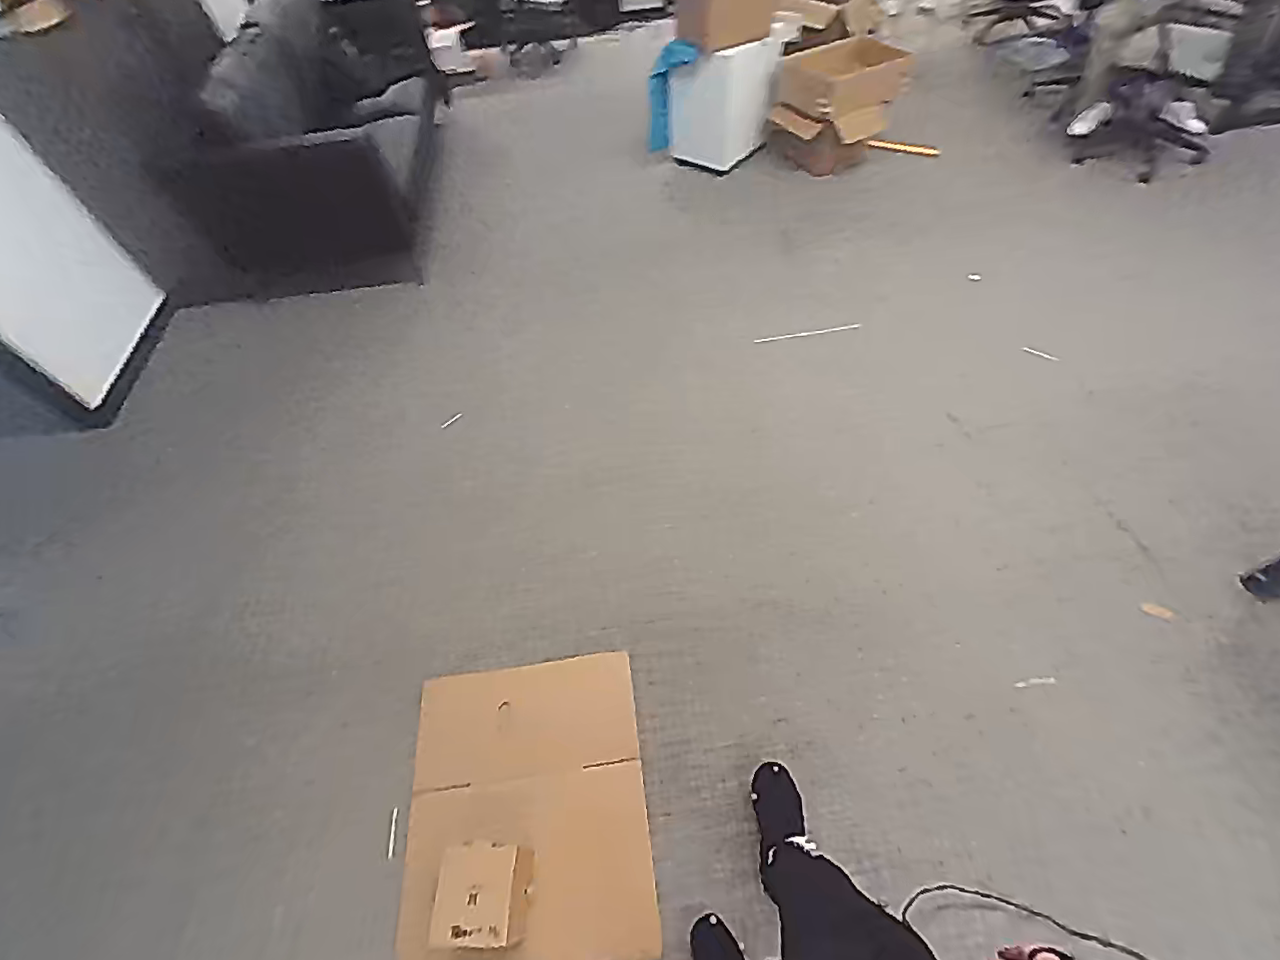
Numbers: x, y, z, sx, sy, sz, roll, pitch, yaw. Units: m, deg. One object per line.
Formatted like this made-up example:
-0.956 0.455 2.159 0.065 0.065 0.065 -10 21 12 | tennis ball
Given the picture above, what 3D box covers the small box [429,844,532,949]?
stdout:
-0.346 0.930 1.215 0.168 0.176 0.179 -1 54 4 | small box
